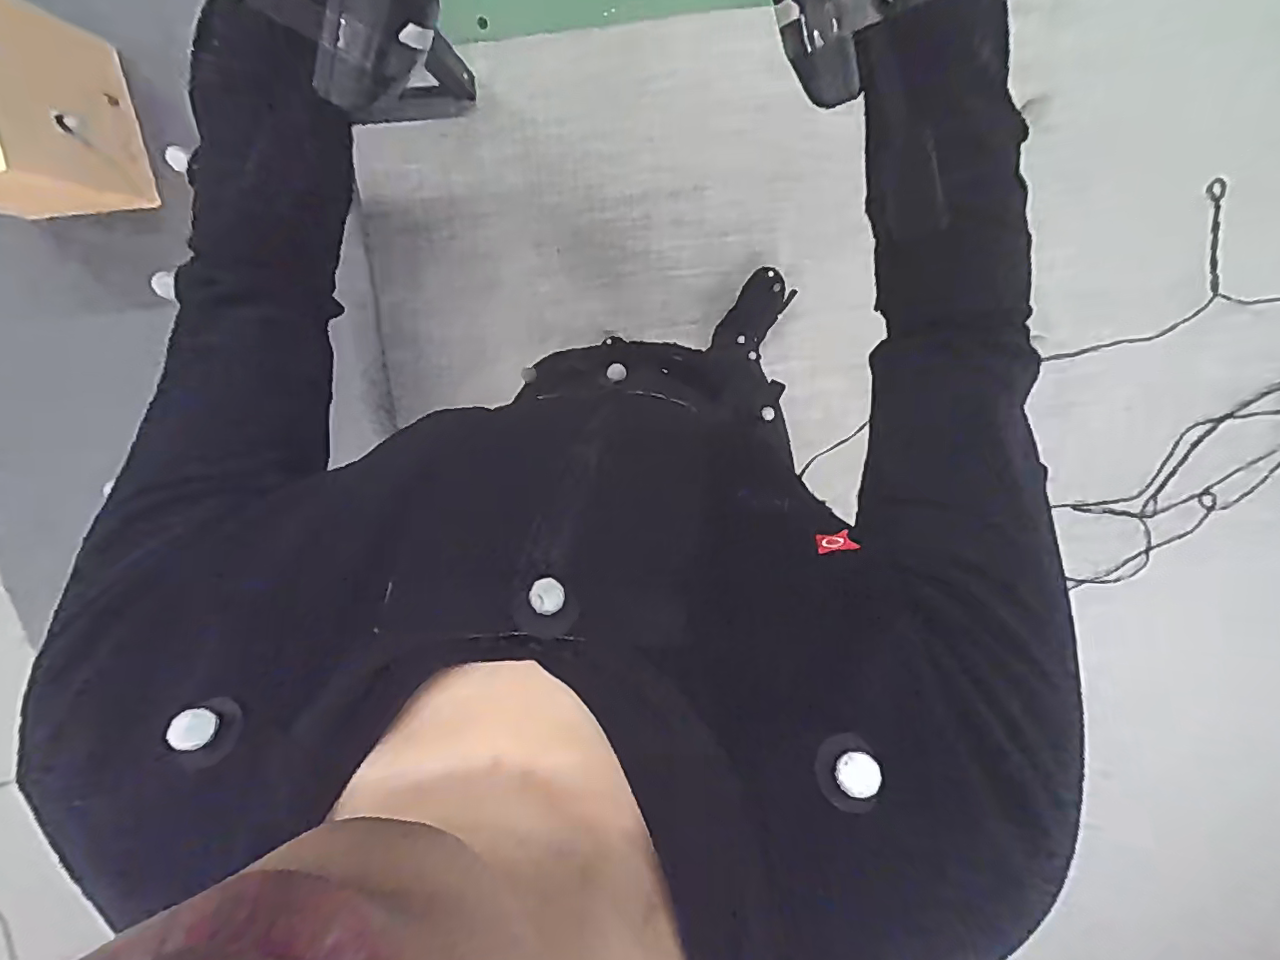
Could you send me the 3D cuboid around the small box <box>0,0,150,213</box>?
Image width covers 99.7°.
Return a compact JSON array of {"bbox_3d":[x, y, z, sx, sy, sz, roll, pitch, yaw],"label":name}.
[{"bbox_3d":[-0.666,-0.383,0.558,0.179,0.176,0.168,-3,107,4],"label":"small box"}]
